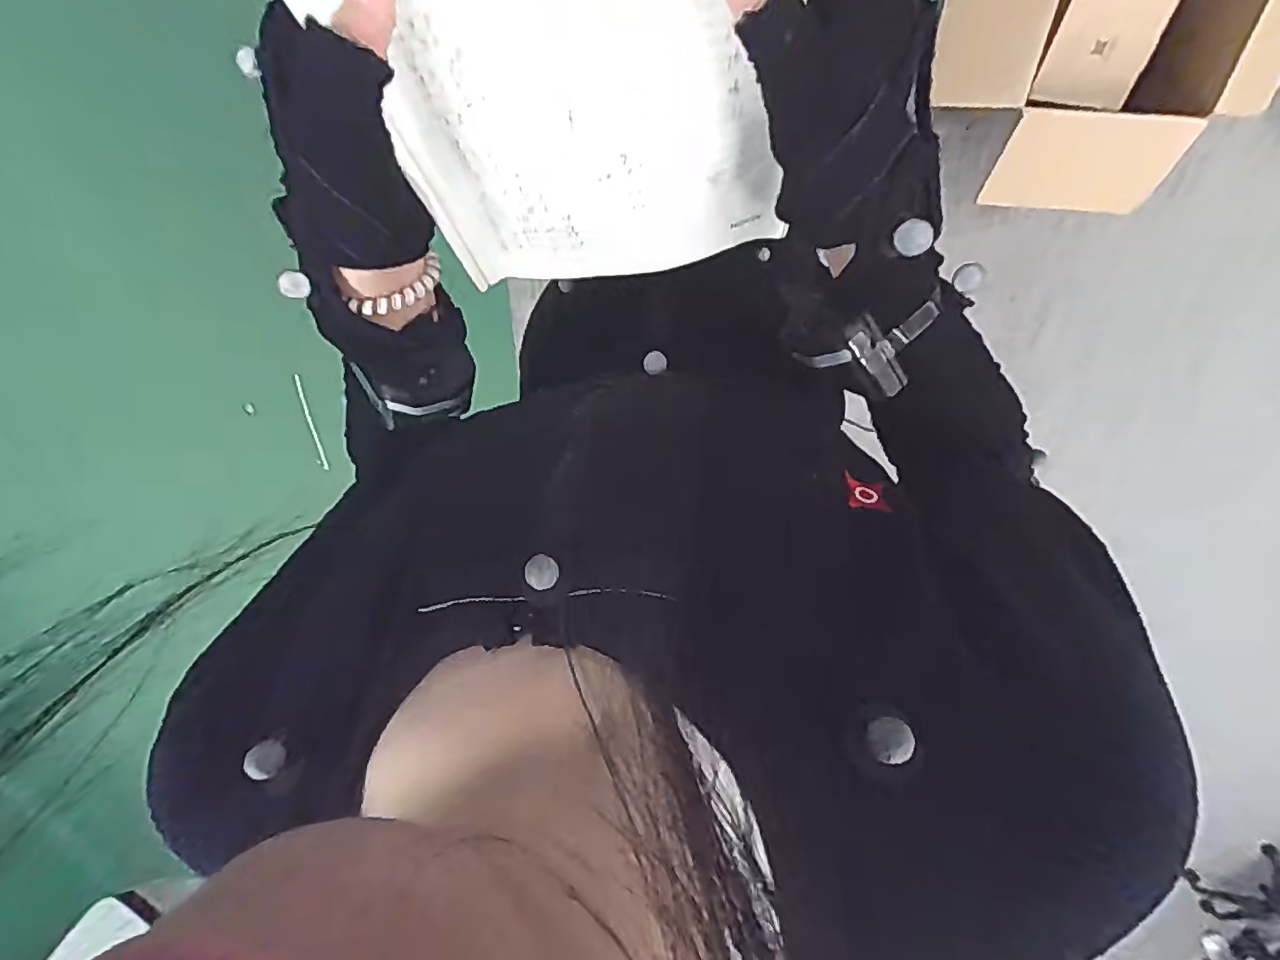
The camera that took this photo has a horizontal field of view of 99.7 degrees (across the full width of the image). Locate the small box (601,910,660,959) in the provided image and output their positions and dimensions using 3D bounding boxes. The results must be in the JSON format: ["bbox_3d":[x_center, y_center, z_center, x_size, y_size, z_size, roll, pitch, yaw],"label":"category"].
[{"bbox_3d":[-0.030,1.397,1.576,0.168,0.176,0.179,5,121,1],"label":"small box"}]
